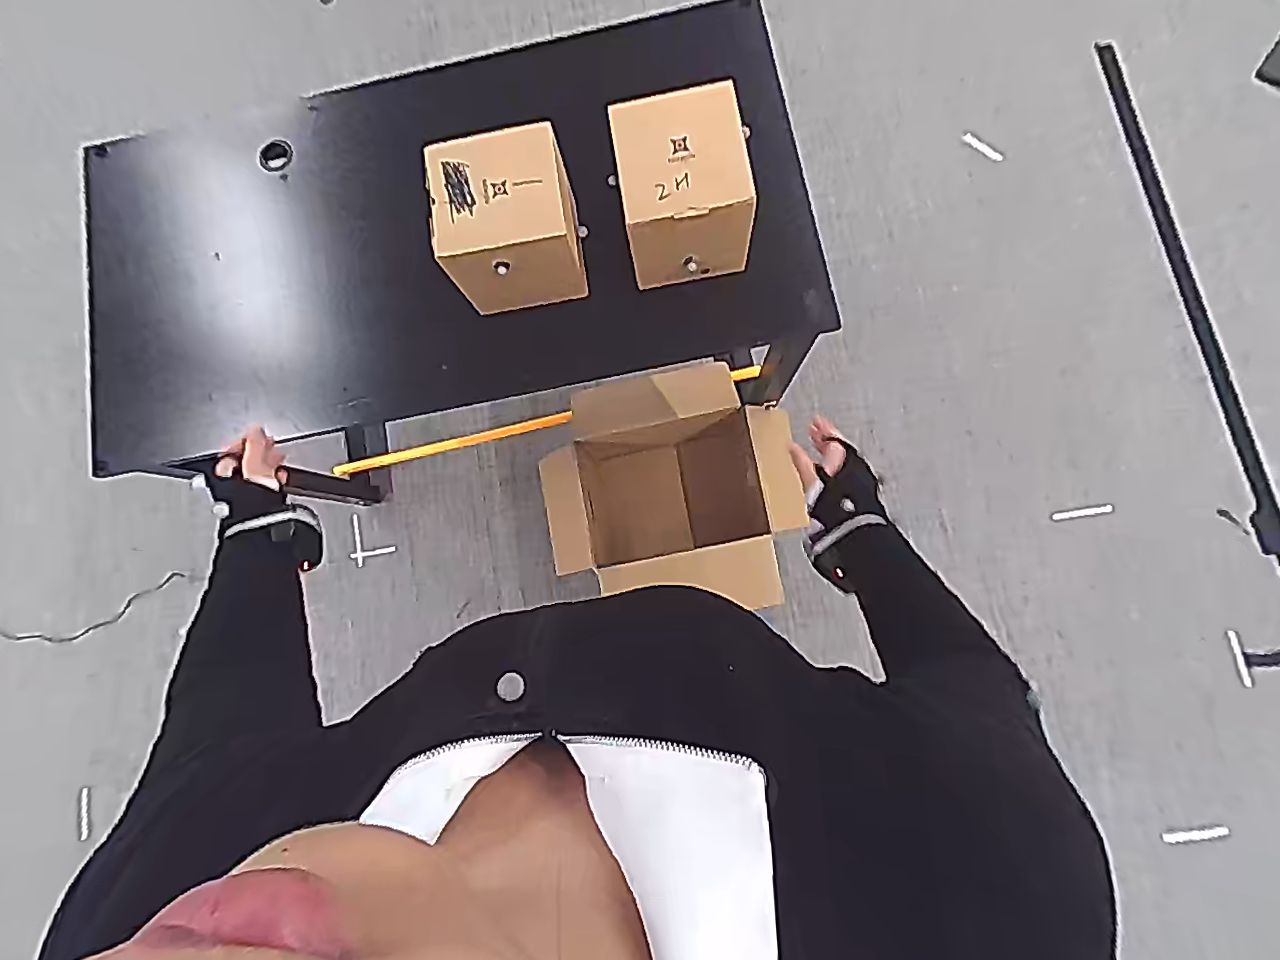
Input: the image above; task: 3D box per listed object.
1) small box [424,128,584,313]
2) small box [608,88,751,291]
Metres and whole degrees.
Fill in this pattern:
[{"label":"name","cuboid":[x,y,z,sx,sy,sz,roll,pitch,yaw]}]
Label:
[{"label":"small box","cuboid":[-0.188,-0.360,0.782,0.179,0.176,0.168,-9,81,2]},{"label":"small box","cuboid":[0.055,-0.399,0.768,0.168,0.176,0.179,-9,81,5]}]
